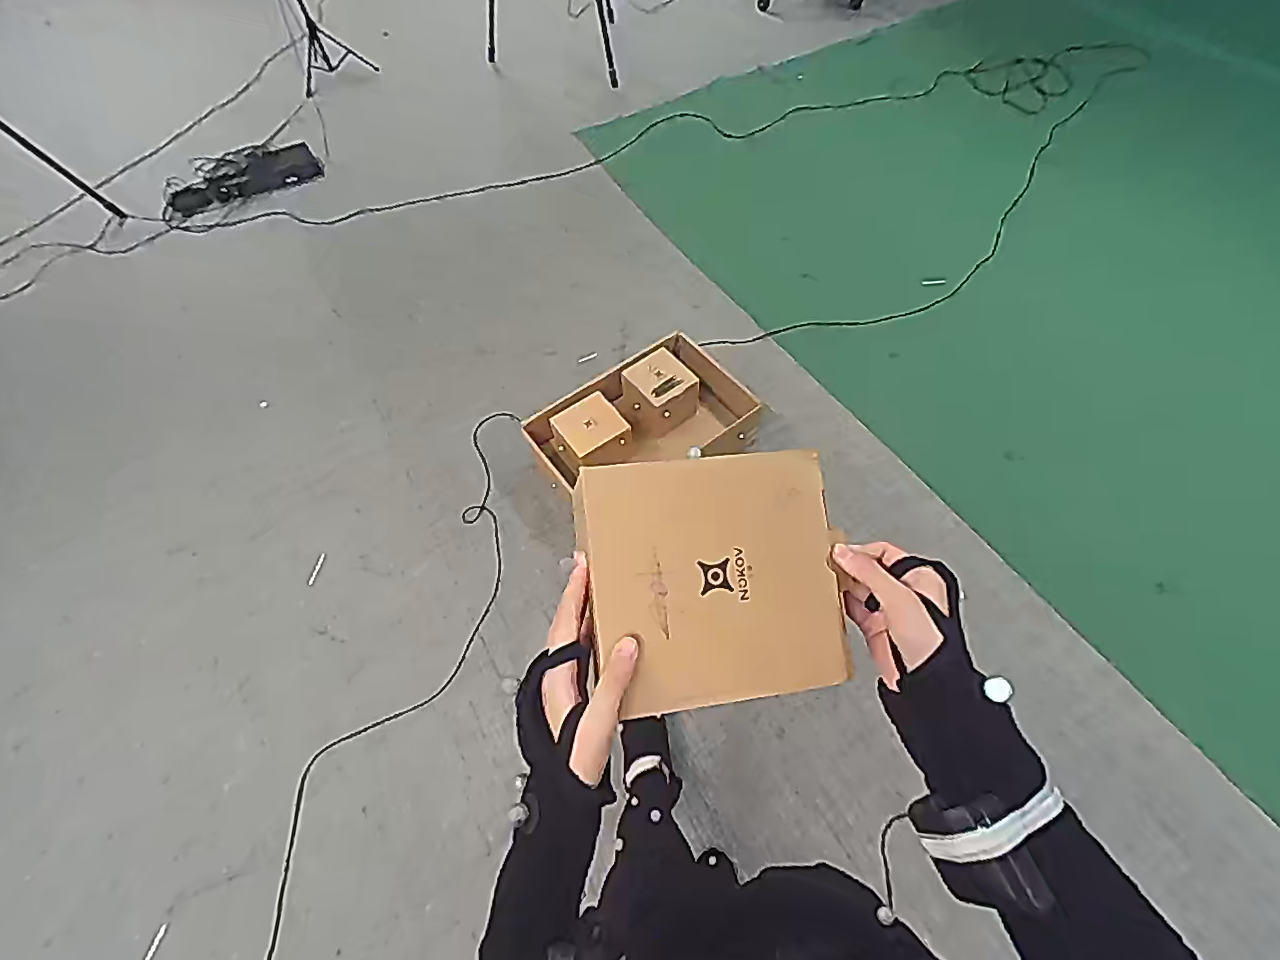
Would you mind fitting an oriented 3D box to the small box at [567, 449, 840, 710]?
[{"bbox_3d":[0.035,0.073,0.451,0.179,0.176,0.168,-5,82,-10],"label":"small box"}]

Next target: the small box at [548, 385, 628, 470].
[{"bbox_3d":[-0.147,-0.140,1.602,0.179,0.176,0.168,-34,66,-17],"label":"small box"}]
